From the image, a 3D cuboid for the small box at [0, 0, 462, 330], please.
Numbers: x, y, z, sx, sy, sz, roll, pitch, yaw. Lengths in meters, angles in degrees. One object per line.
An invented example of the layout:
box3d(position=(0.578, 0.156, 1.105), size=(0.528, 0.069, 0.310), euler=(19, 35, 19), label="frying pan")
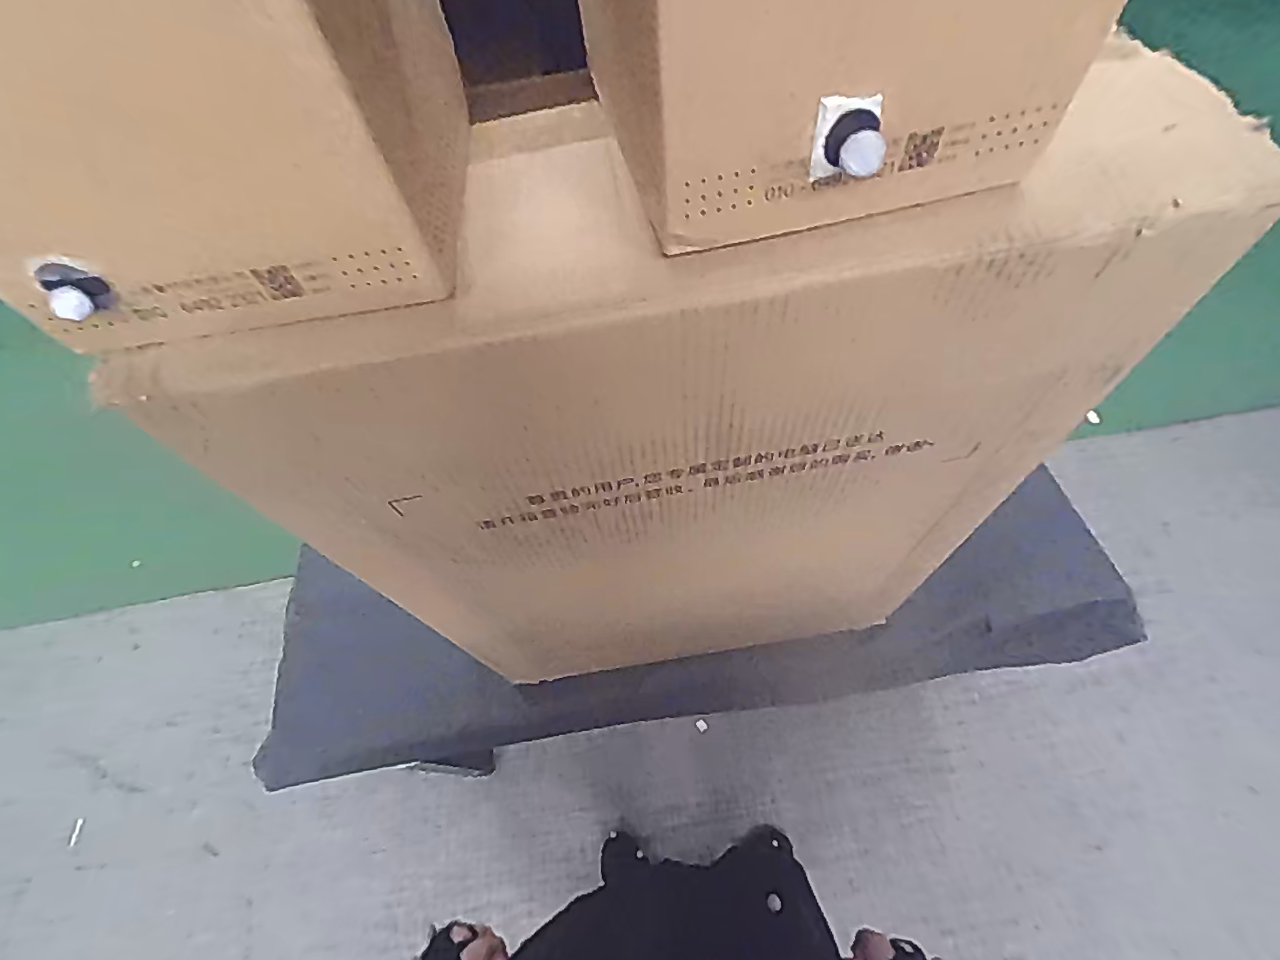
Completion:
box3d(position=(-0.181, -0.176, 0.207), size=(0.168, 0.176, 0.179), euler=(-8, 58, 2), label="small box")
